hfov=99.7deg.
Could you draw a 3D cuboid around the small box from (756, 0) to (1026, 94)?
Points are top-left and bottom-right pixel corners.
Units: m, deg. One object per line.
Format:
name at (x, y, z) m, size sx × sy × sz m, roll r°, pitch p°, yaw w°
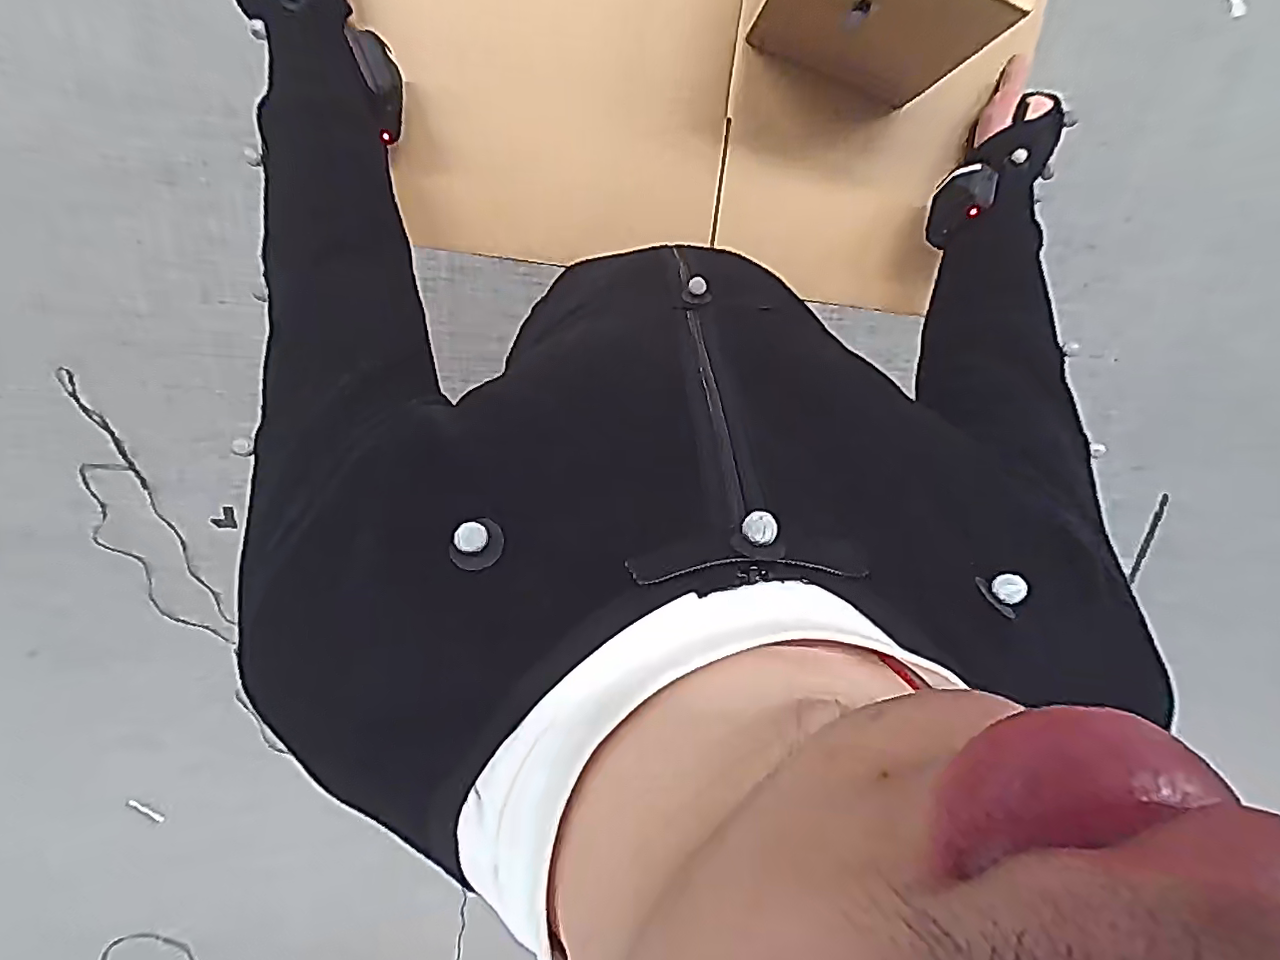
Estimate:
small box at (0.214, -0.457, 0.439) m, size 0.179 × 0.176 × 0.168 m, roll 16°, pitch 104°, yaw -8°
